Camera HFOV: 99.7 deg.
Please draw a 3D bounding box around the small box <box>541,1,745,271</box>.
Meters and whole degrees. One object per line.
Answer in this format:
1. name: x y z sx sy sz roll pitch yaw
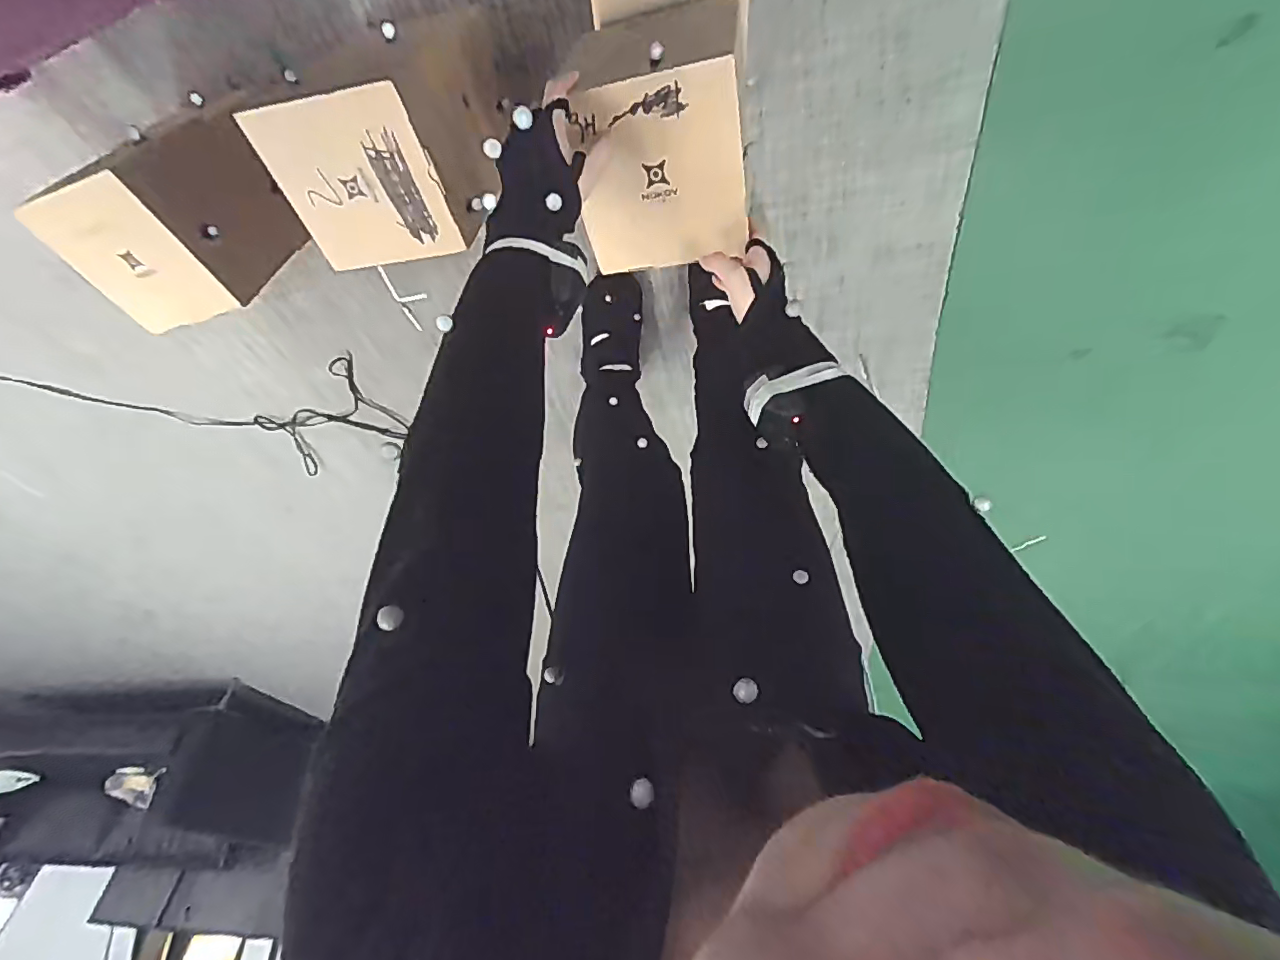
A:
1. small box: 0.020 -0.351 0.565 0.168 0.176 0.179 -2 143 15
